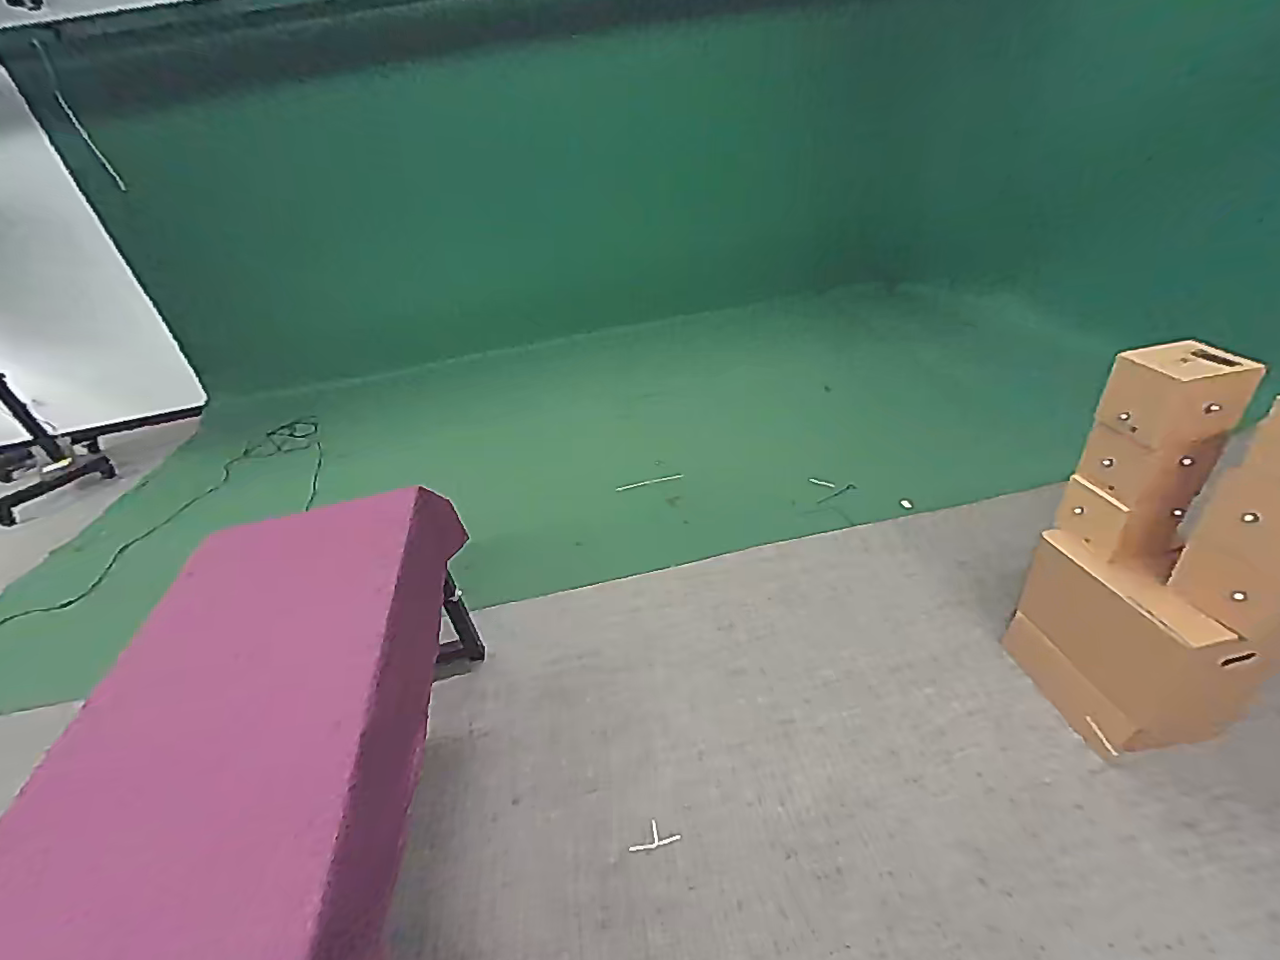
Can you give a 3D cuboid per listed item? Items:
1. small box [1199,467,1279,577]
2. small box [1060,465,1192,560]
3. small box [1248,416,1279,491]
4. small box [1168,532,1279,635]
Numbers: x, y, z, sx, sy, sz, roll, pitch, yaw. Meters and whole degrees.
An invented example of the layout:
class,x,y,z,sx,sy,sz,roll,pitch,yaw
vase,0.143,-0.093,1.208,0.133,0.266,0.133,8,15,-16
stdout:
class,x,y,z,sx,sy,sz,roll,pitch,yaw
small box,1.306,0.080,1.082,0.168,0.176,0.179,-11,32,-4
small box,1.228,0.085,1.387,0.179,0.176,0.168,-10,34,-3
small box,1.299,-0.056,0.988,0.179,0.176,0.168,-12,32,-6
small box,1.326,0.215,1.172,0.168,0.176,0.179,-11,32,-5
